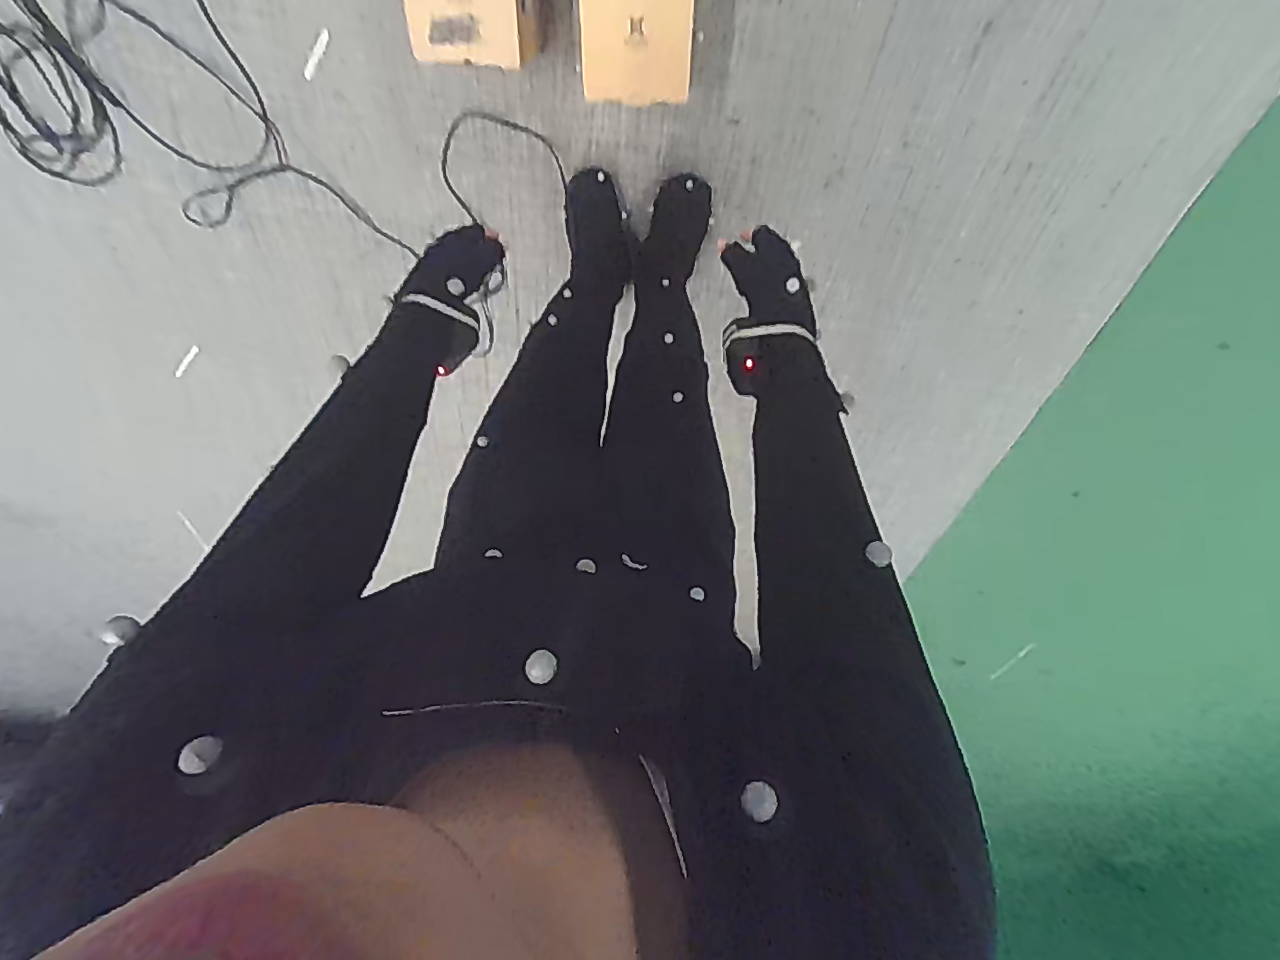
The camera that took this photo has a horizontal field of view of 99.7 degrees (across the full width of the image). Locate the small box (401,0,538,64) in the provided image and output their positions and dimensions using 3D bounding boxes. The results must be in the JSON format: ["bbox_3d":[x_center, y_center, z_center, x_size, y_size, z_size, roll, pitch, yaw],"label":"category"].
[{"bbox_3d":[-0.253,-0.751,0.810,0.168,0.176,0.179,4,134,0],"label":"small box"}]

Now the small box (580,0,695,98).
[{"bbox_3d":[-0.001,-0.712,0.833,0.168,0.176,0.179,2,135,2],"label":"small box"}]
